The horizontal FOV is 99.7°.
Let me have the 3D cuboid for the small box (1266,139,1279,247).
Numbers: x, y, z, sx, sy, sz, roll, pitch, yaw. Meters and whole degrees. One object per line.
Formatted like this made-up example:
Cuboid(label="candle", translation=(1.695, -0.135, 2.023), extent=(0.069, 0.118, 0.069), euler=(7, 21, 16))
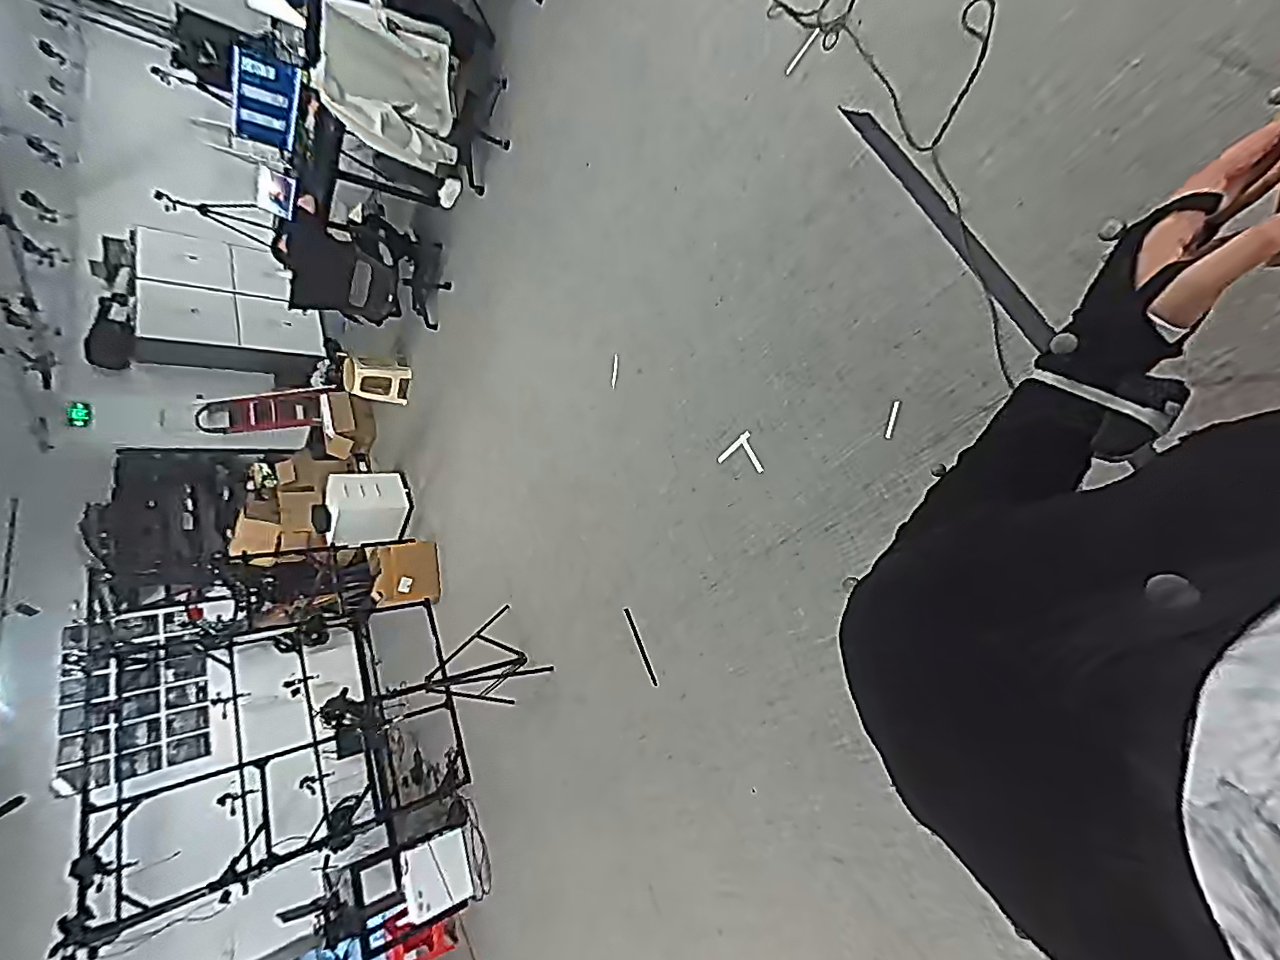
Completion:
Cuboid(label="small box", translation=(0.493, -0.242, 0.304), extent=(0.168, 0.176, 0.179), euler=(10, 105, 46))
